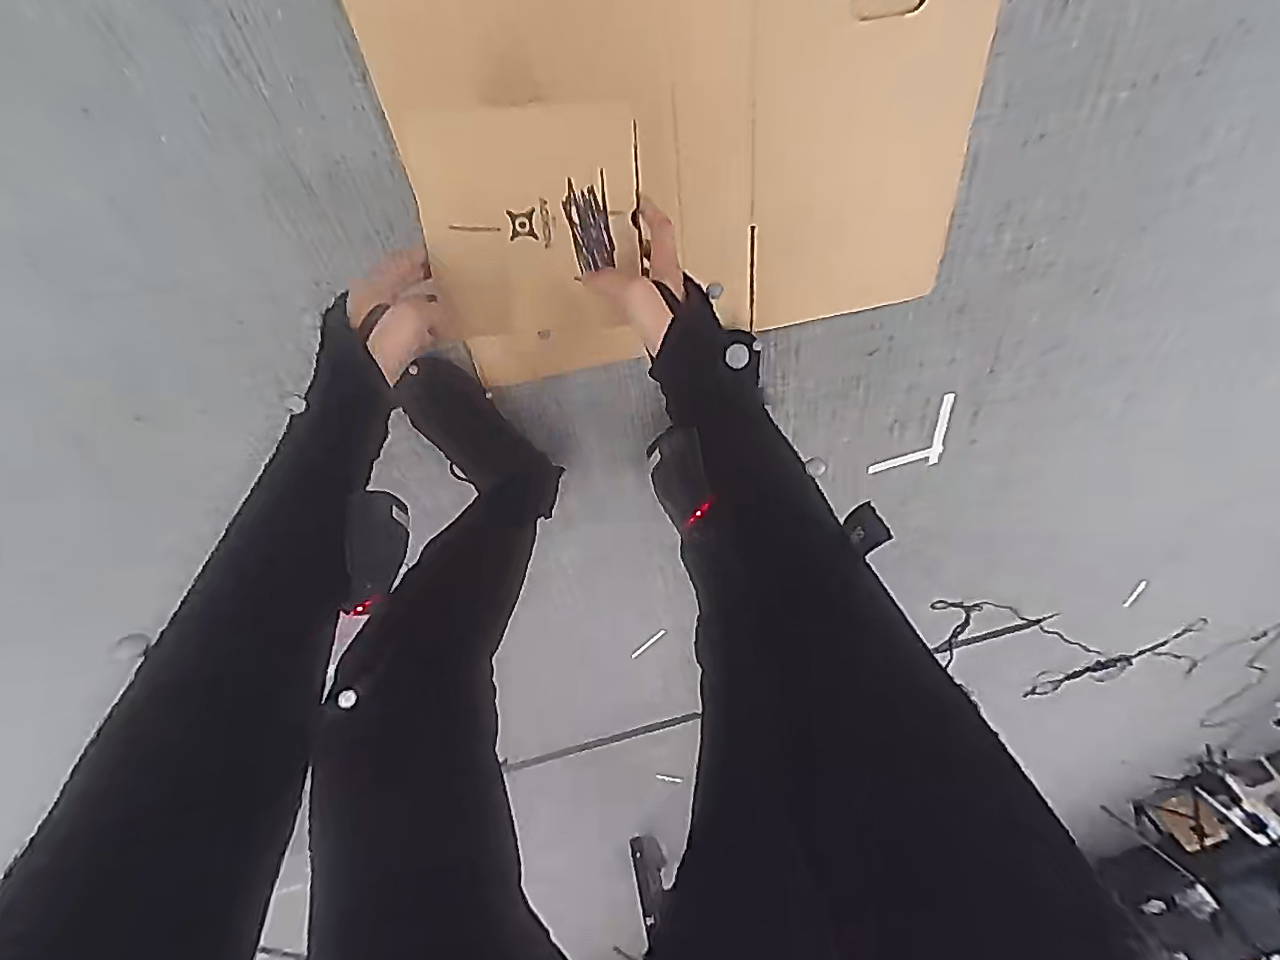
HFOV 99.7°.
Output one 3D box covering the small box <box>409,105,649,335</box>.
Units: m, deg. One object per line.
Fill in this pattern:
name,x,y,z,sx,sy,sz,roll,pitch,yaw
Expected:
small box,-0.090,-0.237,0.510,0.179,0.176,0.168,-5,113,-3
